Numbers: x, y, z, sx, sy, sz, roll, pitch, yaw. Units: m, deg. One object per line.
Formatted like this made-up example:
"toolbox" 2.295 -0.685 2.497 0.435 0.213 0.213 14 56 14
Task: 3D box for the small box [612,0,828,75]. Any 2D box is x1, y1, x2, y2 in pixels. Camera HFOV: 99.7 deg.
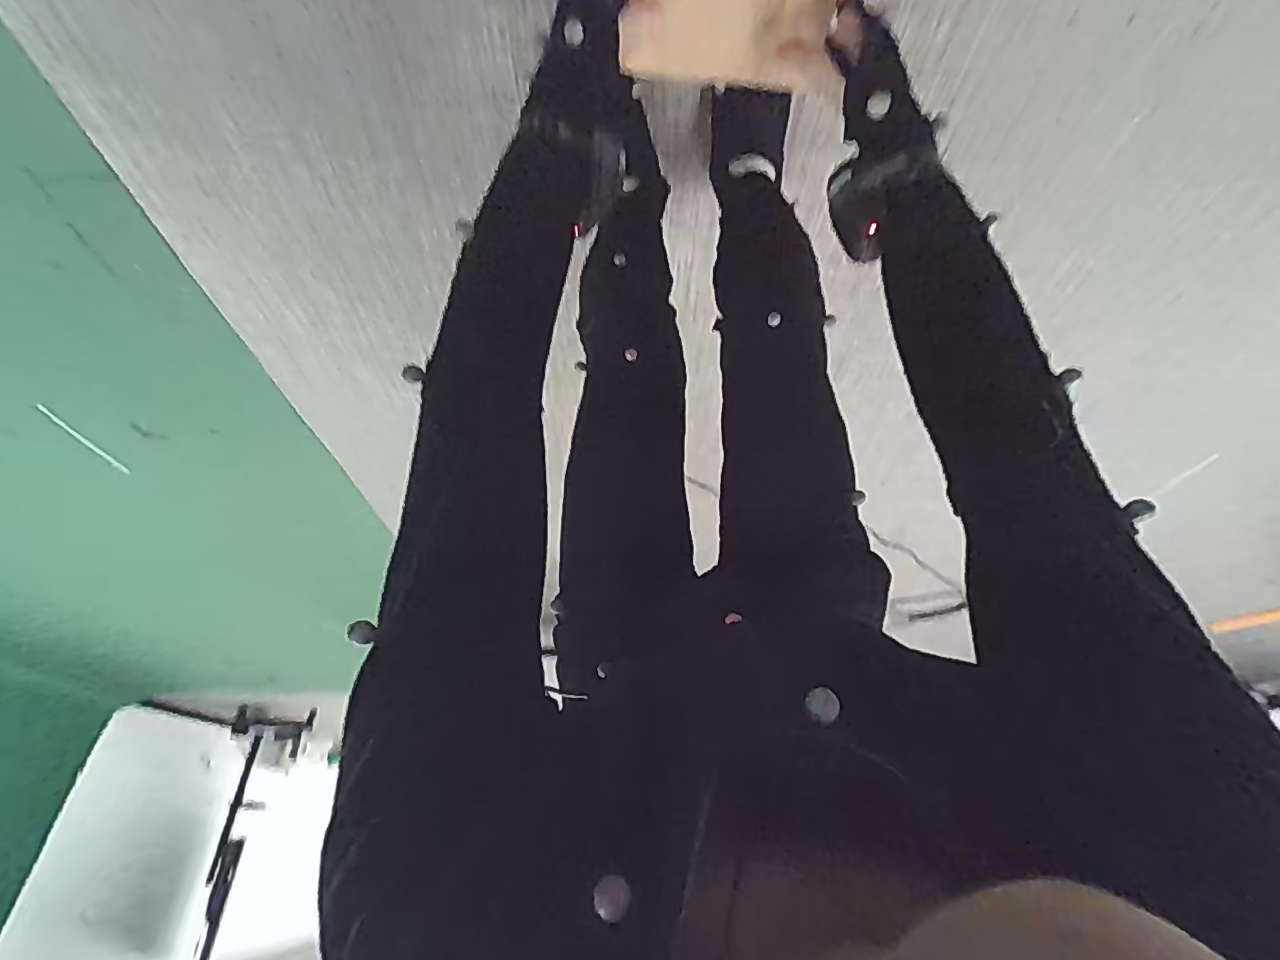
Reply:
"small box" 0.070 -0.478 0.452 0.179 0.176 0.168 2 147 -5
